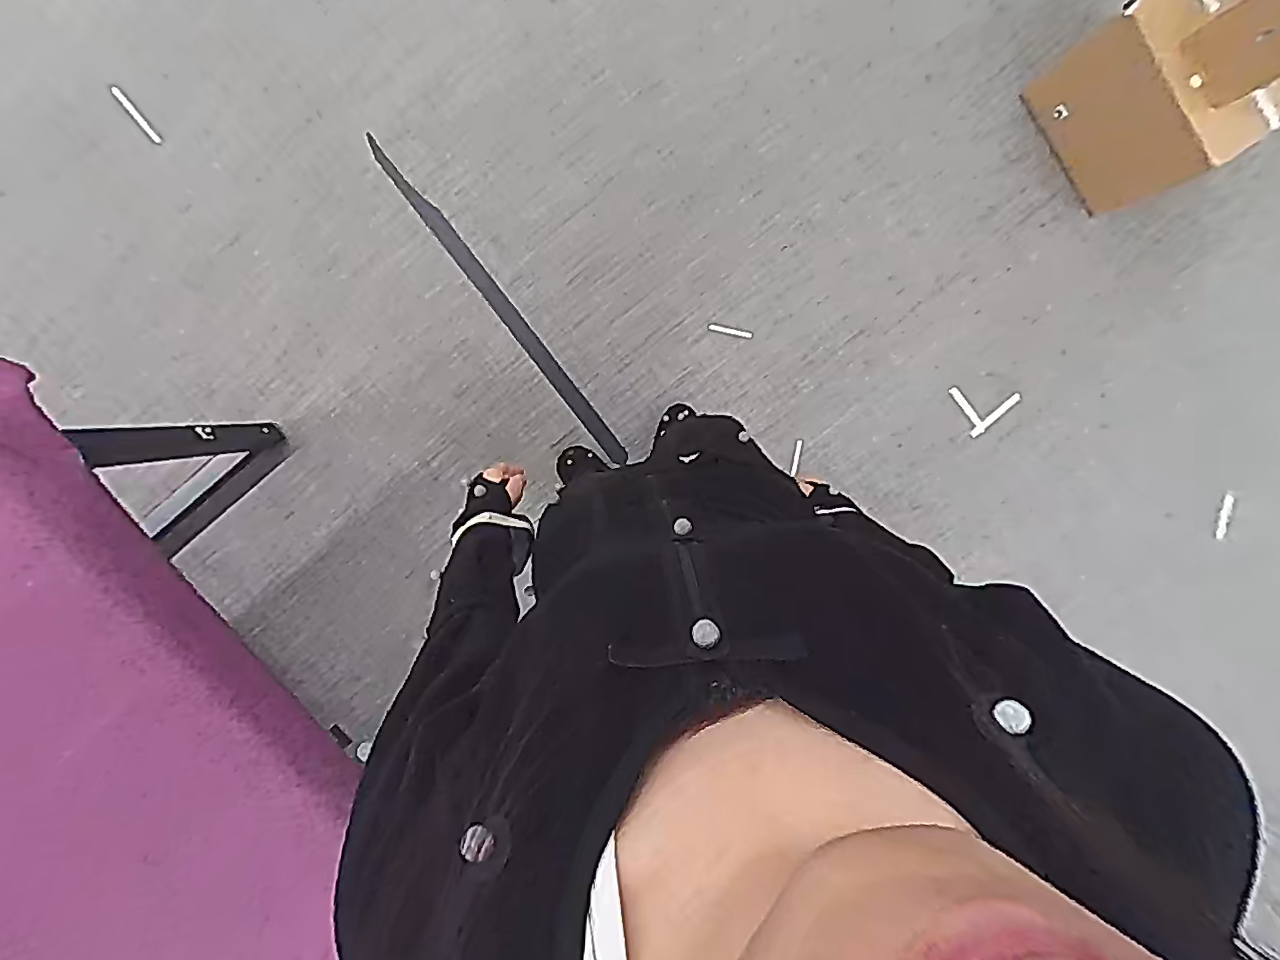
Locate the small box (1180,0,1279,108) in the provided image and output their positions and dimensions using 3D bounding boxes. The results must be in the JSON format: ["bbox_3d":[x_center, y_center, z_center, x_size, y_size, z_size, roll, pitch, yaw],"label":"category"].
[{"bbox_3d":[1.257,-0.905,1.080,0.168,0.176,0.179,-39,98,3],"label":"small box"}]
